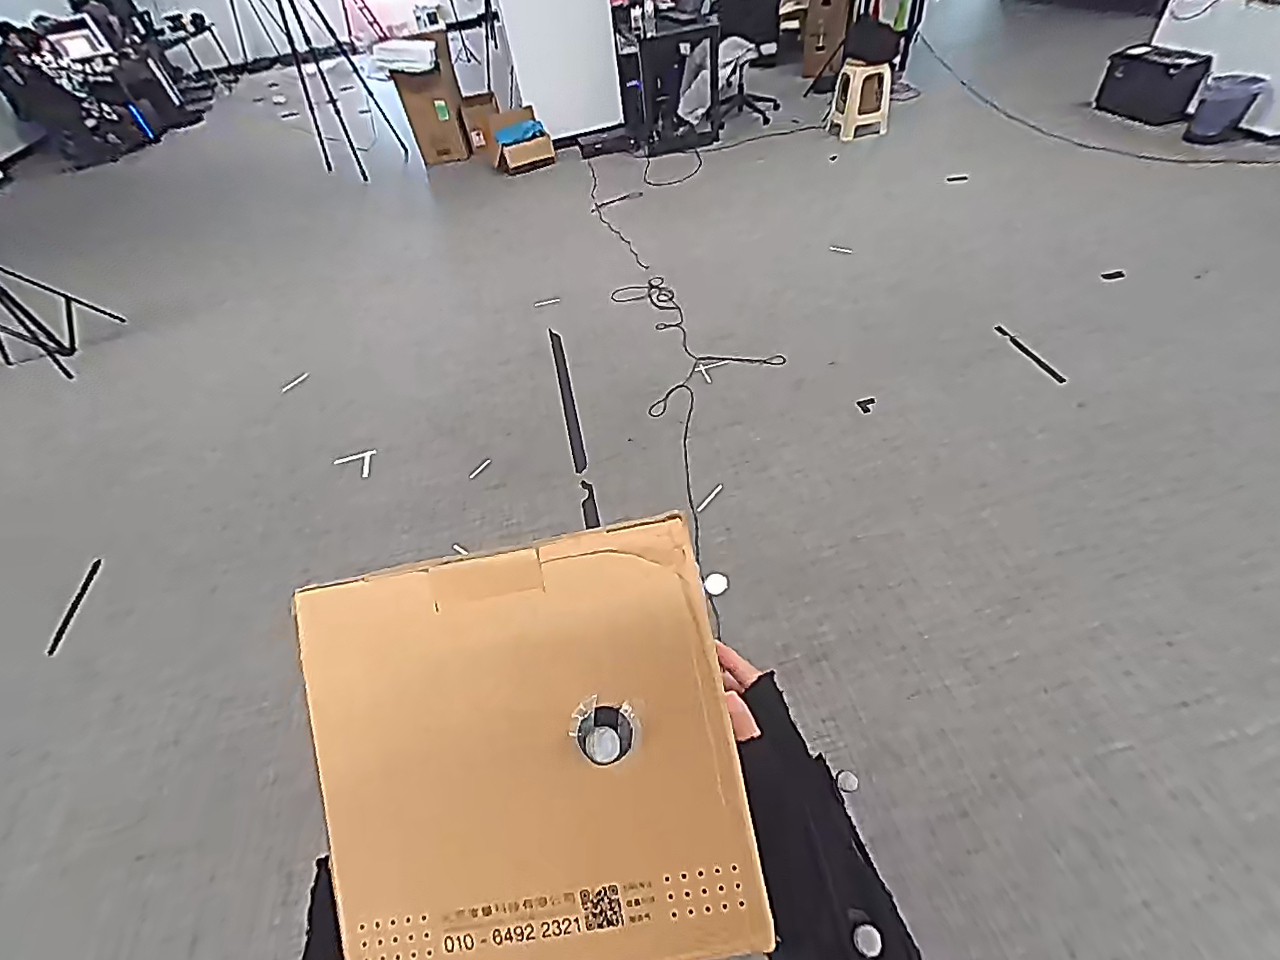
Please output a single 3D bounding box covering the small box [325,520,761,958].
[{"bbox_3d":[-0.036,0.124,0.309,0.168,0.179,0.176,-12,86,4],"label":"small box"}]
